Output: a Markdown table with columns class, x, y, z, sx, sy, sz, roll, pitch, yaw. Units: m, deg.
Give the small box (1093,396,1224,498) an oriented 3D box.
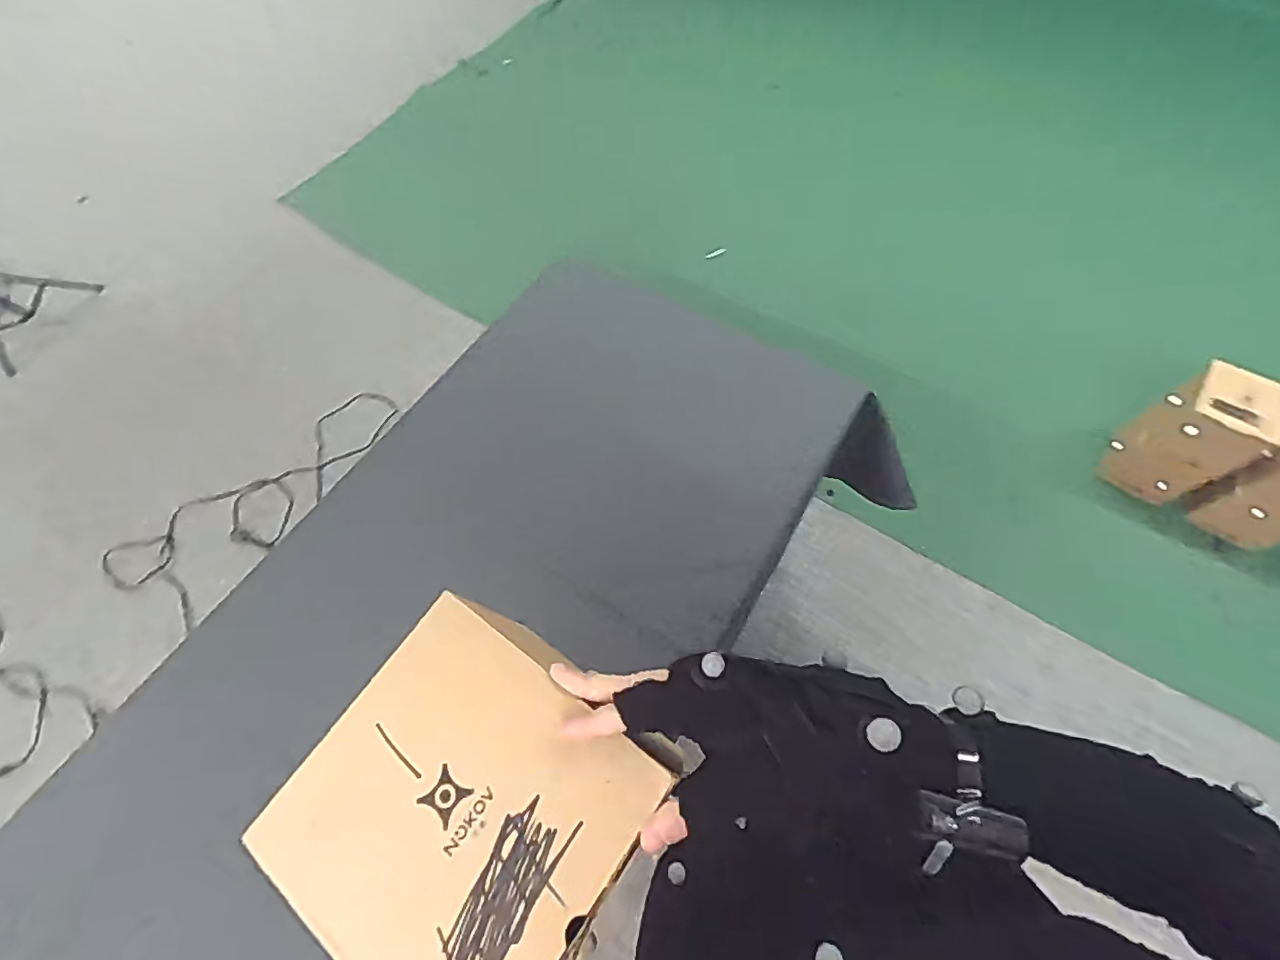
| class | x | y | z | sx | sy | sz | roll | pitch | yaw |
| --- | --- | --- | --- | --- | --- | --- | --- | --- | --- |
| small box | 1.359 | -0.082 | 1.433 | 0.168 | 0.176 | 0.179 | 35 | 72 | 19 |
